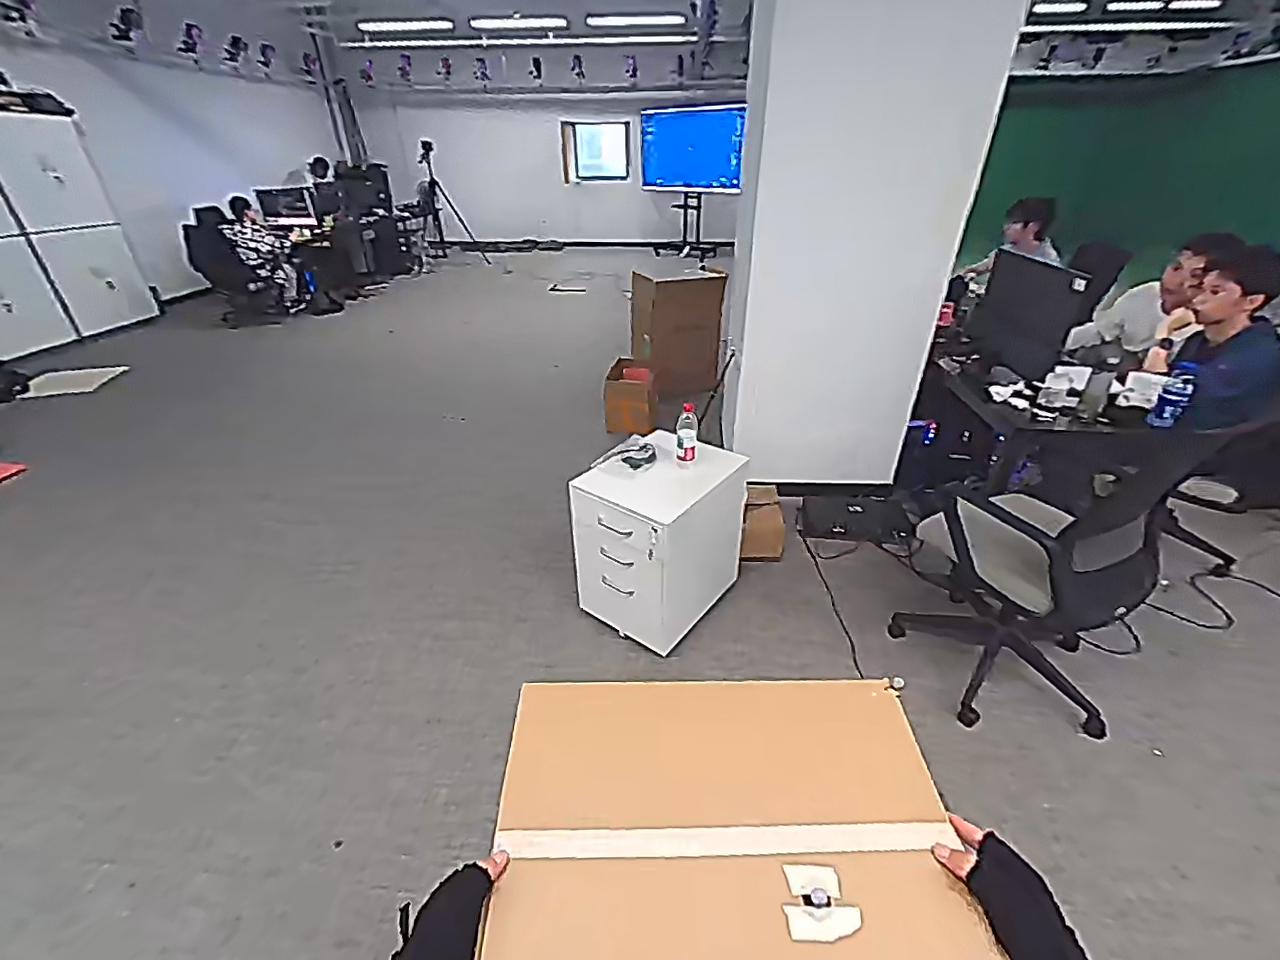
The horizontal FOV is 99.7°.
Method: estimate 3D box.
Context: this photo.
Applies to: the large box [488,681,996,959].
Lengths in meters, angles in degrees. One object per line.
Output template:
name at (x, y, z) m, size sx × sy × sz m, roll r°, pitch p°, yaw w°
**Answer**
large box at (0.075, 0.440, 0.574) m, size 0.408 × 0.320 × 0.320 m, roll 0°, pitch 38°, yaw -1°
